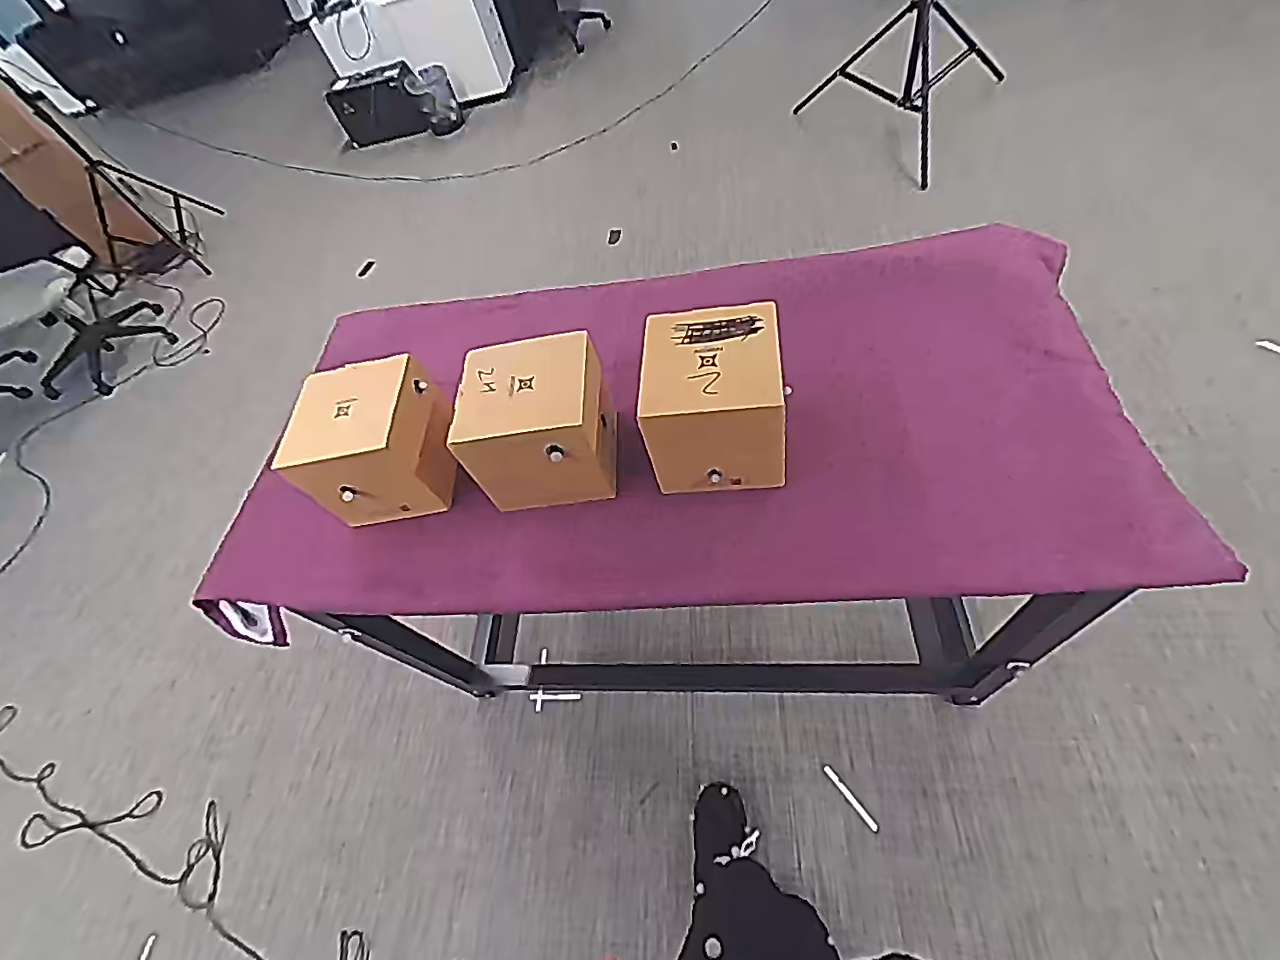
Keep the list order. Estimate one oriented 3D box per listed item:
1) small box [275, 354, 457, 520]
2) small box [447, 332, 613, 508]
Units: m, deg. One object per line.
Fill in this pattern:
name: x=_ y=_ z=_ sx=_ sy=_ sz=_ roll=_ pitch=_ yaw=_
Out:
small box: x=-0.387 y=-0.053 z=0.807 sx=0.168 sy=0.176 sz=0.179 roll=-10 pitch=55 yaw=8
small box: x=-0.137 y=-0.077 z=0.755 sx=0.179 sy=0.176 sz=0.168 roll=-7 pitch=55 yaw=9
